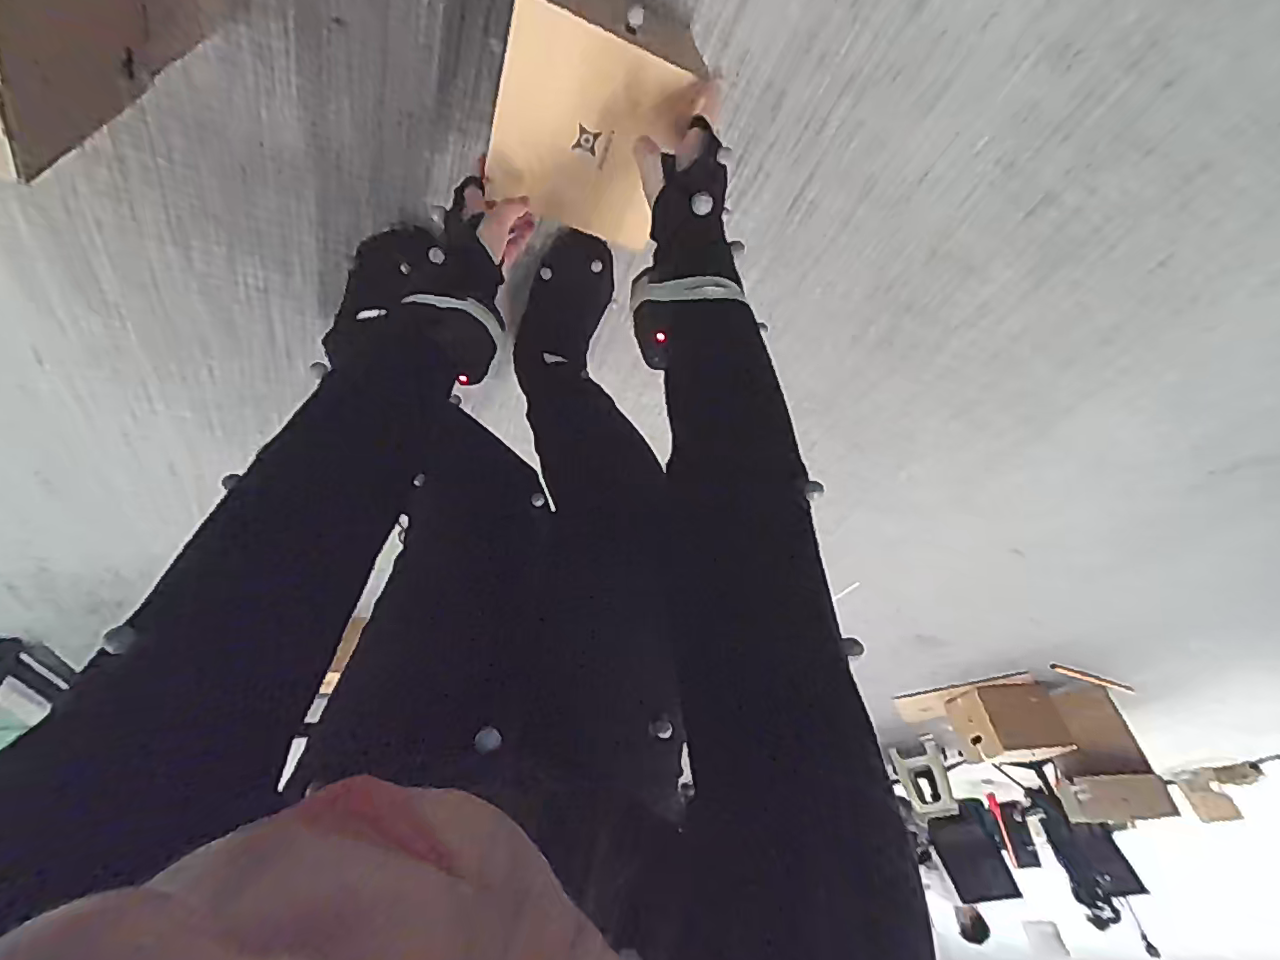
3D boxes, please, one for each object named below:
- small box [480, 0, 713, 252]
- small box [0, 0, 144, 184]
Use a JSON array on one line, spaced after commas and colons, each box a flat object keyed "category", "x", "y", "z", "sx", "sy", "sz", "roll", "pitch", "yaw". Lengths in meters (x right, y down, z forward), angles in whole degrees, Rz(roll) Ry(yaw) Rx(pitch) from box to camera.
[{"category": "small box", "x": -0.053, "y": -0.373, "z": 0.550, "sx": 0.179, "sy": 0.176, "sz": 0.168, "roll": 11, "pitch": 140, "yaw": -21}, {"category": "small box", "x": -0.417, "y": -0.317, "z": 0.299, "sx": 0.179, "sy": 0.176, "sz": 0.168, "roll": 19, "pitch": 136, "yaw": -27}]
